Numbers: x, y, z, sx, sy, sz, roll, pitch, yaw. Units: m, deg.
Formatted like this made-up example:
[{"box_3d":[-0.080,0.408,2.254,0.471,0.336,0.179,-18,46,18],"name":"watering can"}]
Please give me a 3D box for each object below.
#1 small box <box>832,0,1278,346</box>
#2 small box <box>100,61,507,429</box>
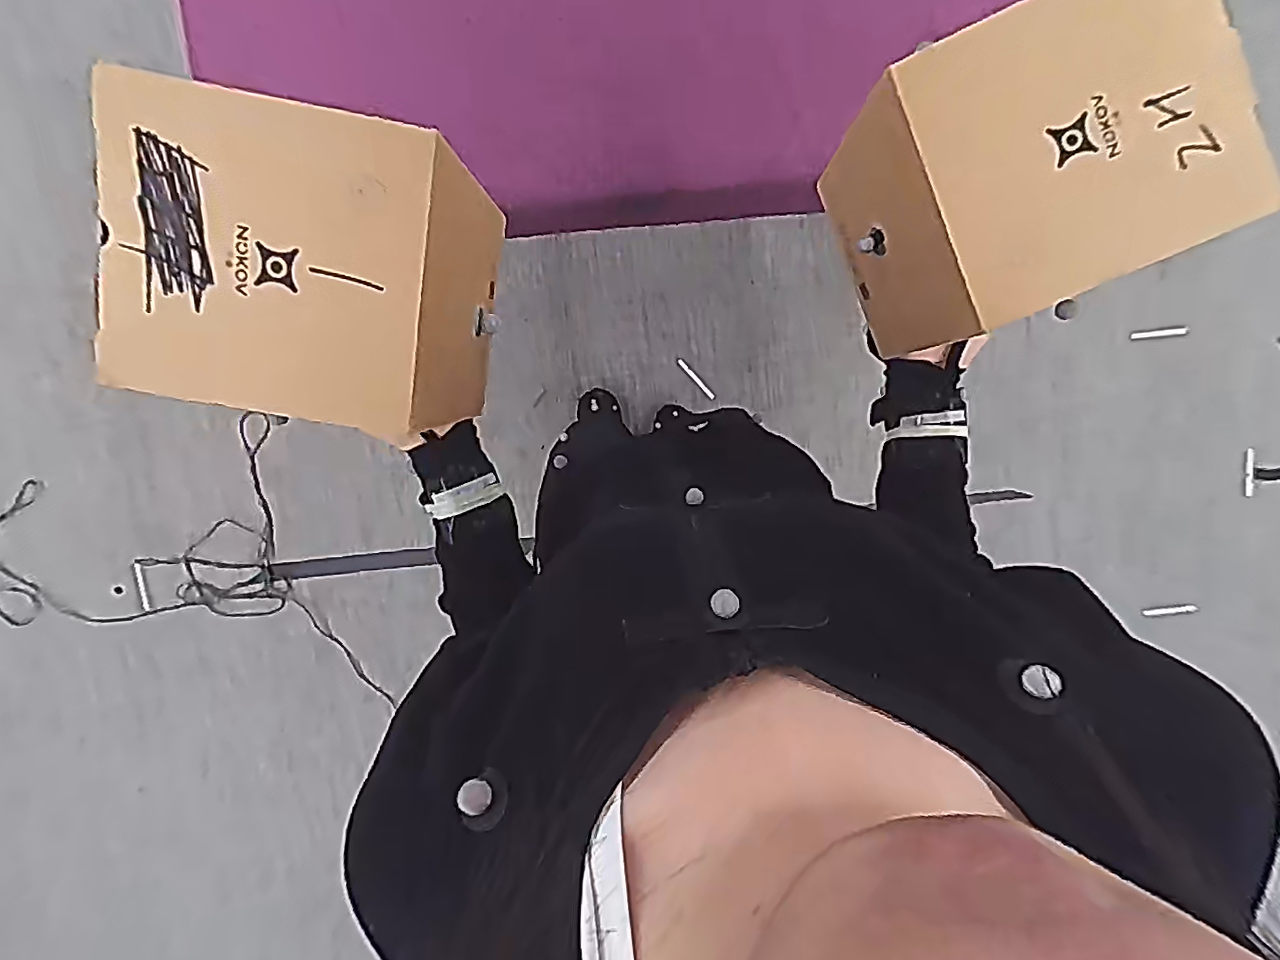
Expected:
[{"box_3d":[0.256,-0.209,0.387,0.179,0.176,0.168,-23,96,6],"name":"small box"},{"box_3d":[-0.204,-0.136,0.371,0.179,0.176,0.168,9,101,-4],"name":"small box"}]
